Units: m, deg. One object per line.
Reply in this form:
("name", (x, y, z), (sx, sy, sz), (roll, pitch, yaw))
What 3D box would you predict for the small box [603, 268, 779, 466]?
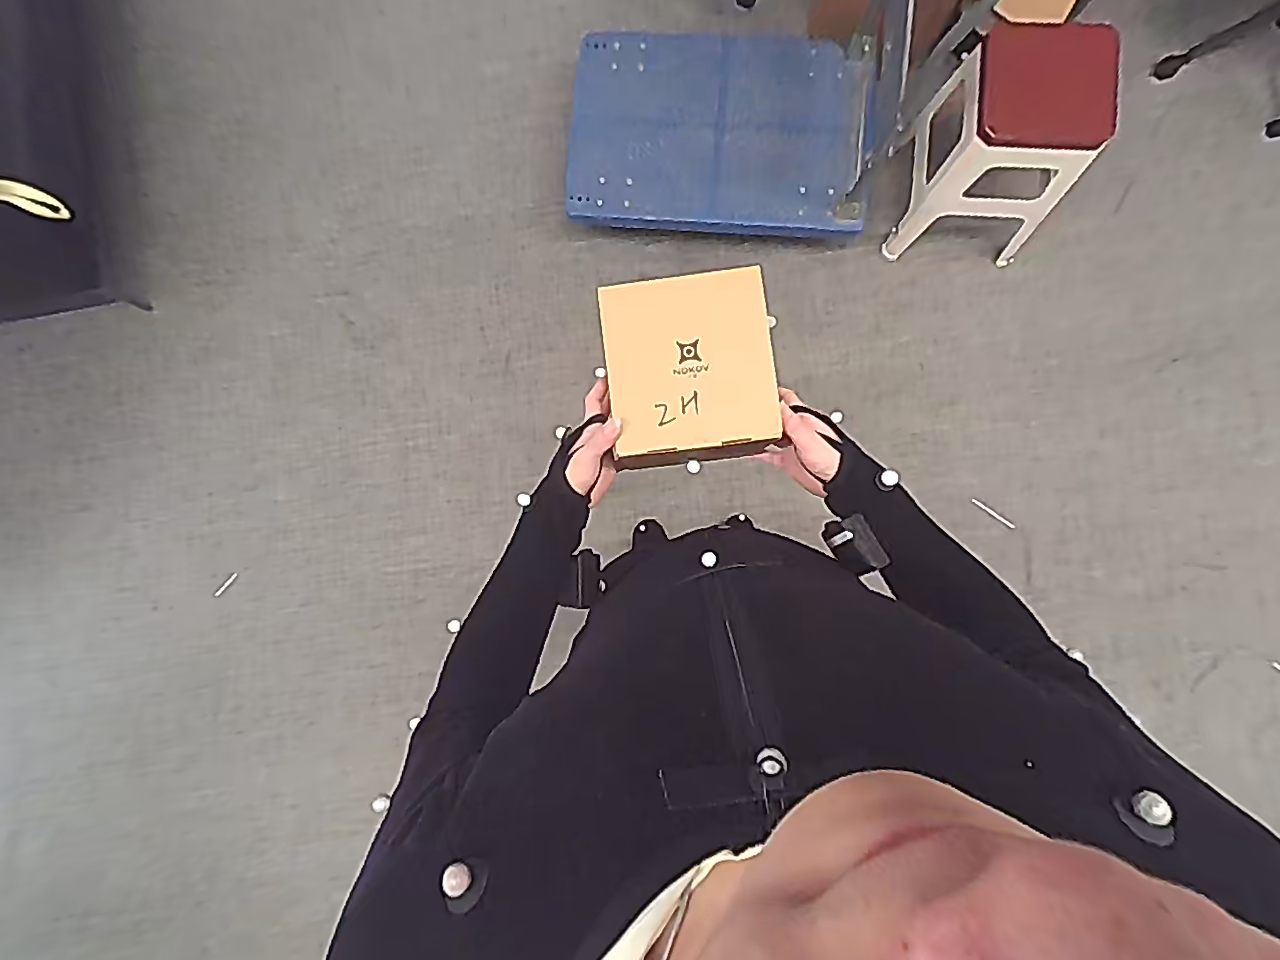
("small box", (0.052, -0.117, 0.623), (0.168, 0.176, 0.179), (-6, 87, 3))
